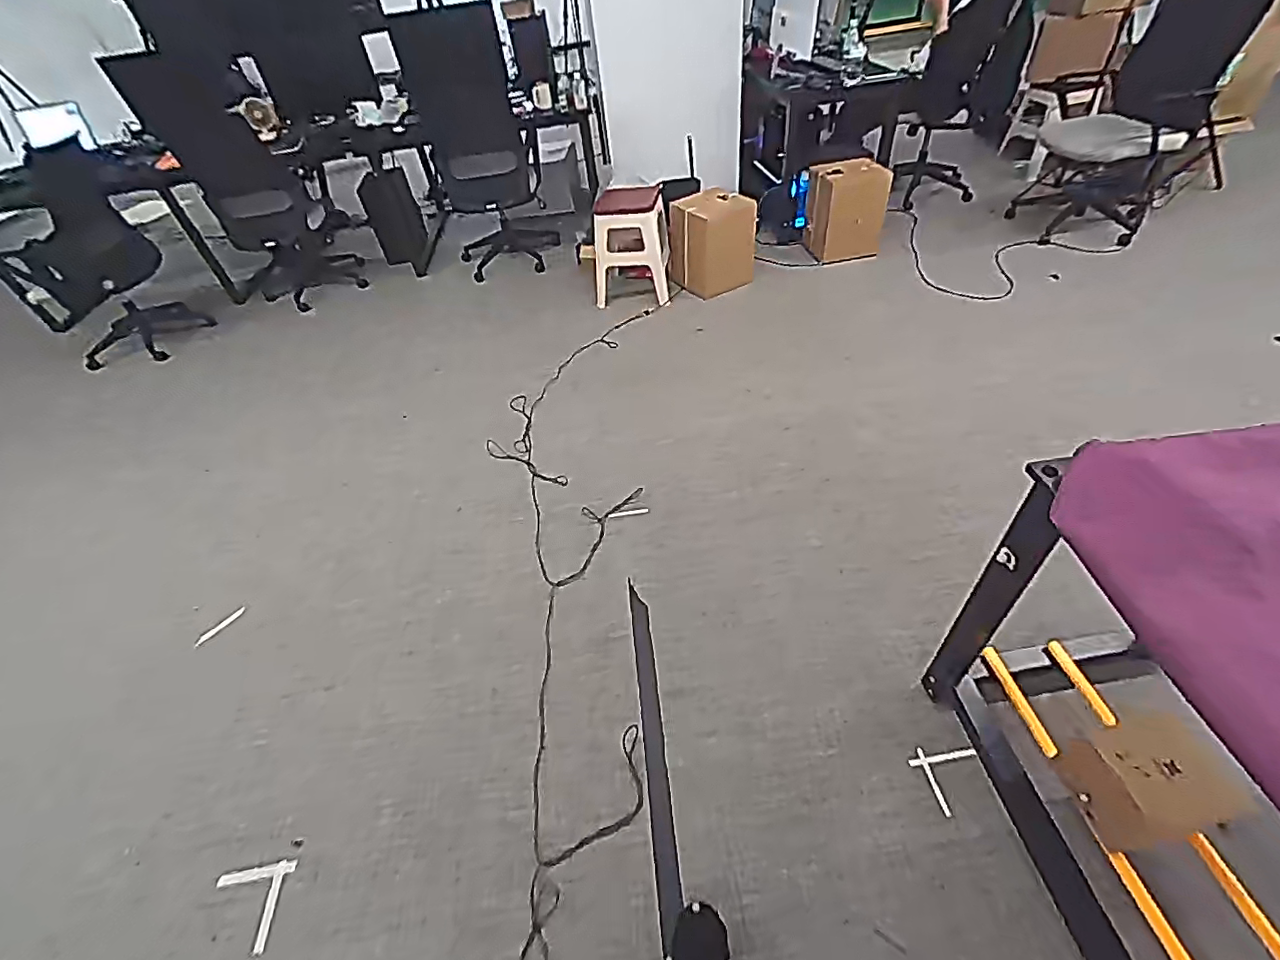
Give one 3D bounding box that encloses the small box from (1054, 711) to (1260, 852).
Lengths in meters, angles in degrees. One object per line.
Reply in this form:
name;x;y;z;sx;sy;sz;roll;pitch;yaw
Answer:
small box;0.911;0.546;0.977;0.179;0.176;0.168;-13;45;-1
